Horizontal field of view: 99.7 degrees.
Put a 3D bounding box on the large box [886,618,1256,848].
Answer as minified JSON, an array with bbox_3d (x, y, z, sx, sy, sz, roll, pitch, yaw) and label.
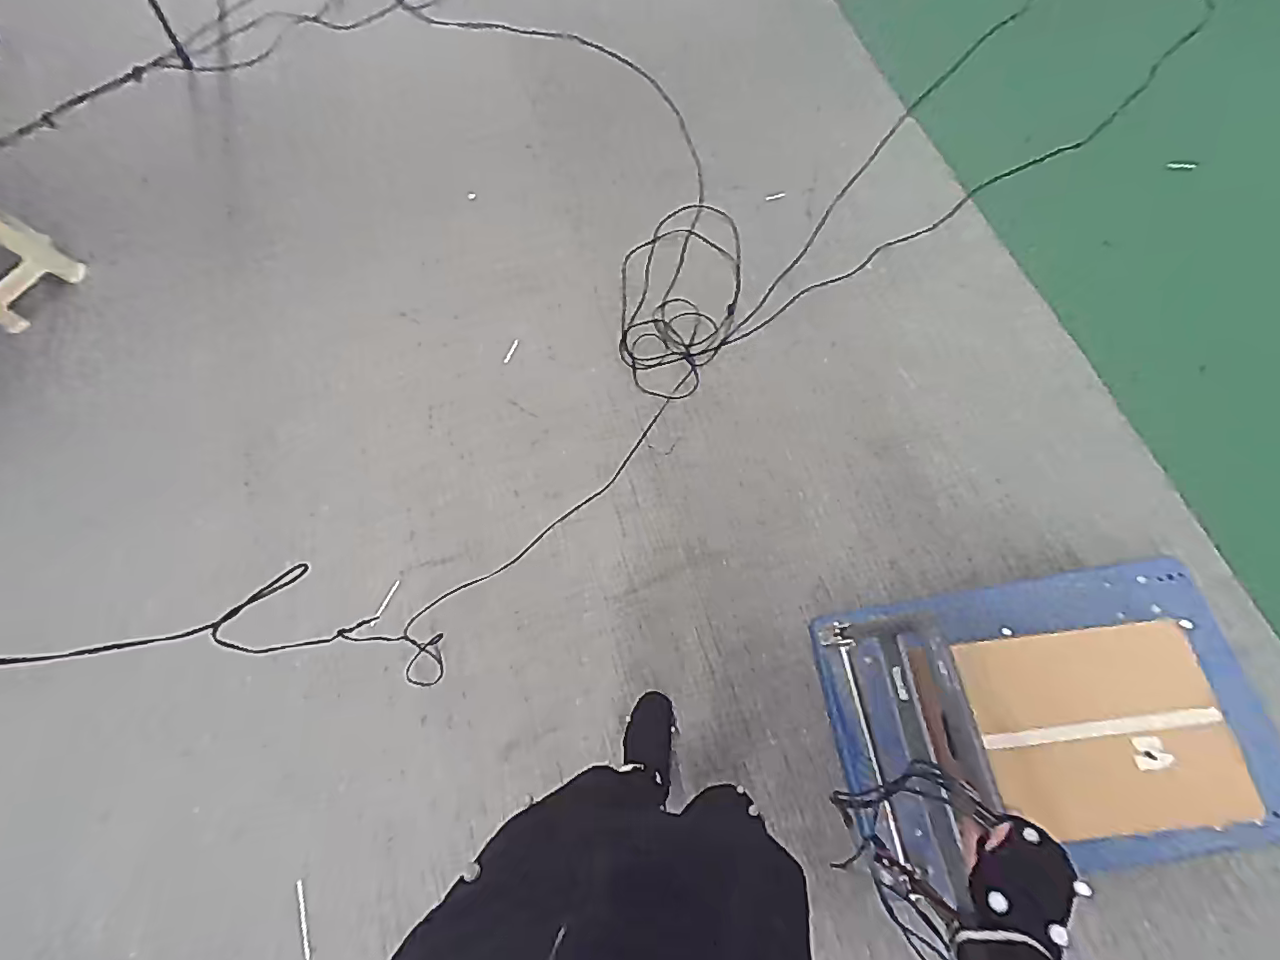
[{"bbox_3d":[0.762,0.464,1.041,0.408,0.320,0.320,-8,71,2],"label":"large box"}]
